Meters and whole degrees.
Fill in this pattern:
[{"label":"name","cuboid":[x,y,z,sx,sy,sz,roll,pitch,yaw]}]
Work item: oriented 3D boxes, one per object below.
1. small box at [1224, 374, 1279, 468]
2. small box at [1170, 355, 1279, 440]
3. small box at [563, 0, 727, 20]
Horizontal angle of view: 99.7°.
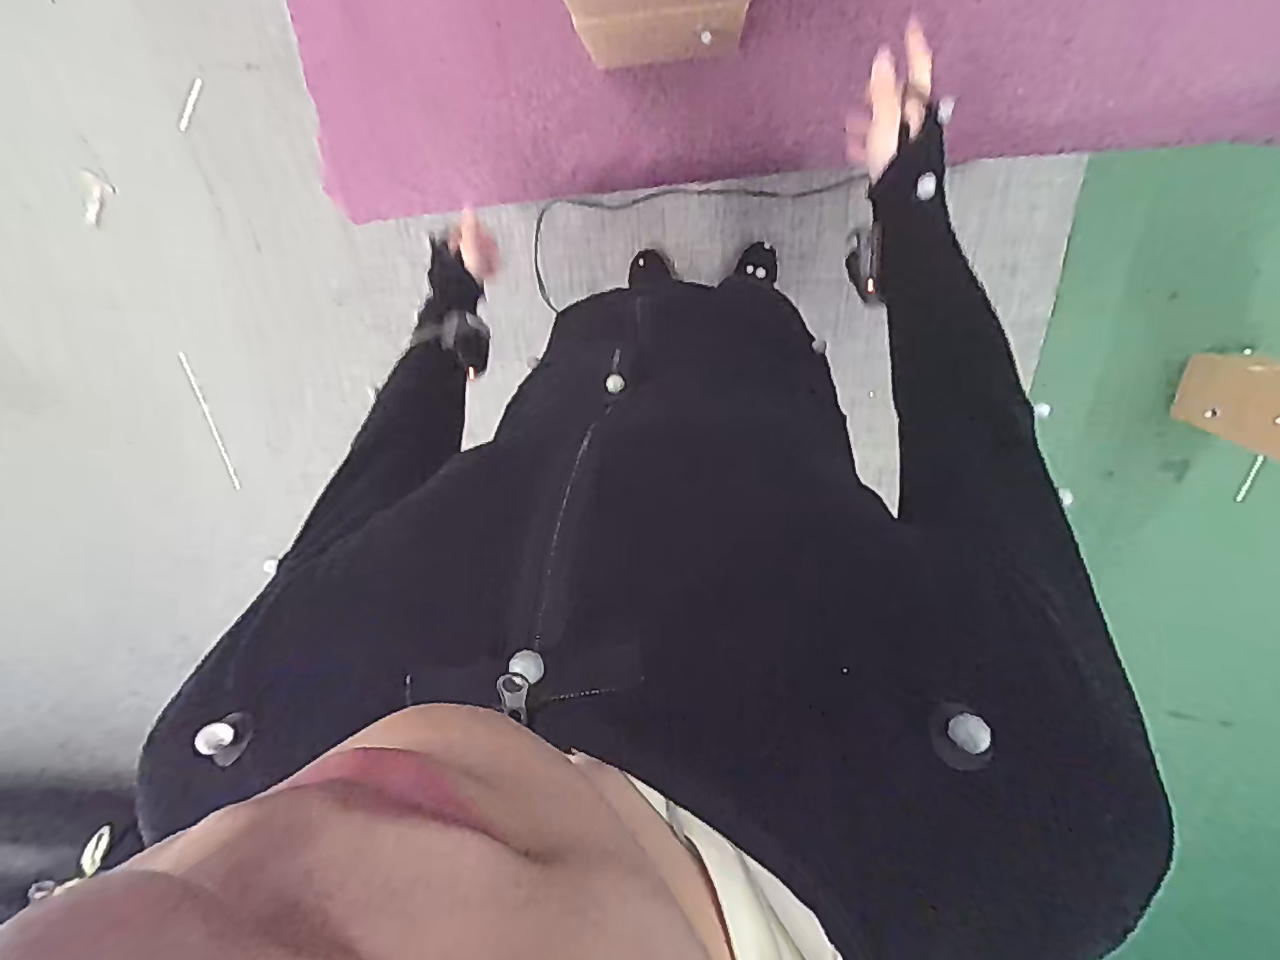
[{"label":"small box","cuboid":[1.511,-0.139,1.233,0.168,0.176,0.179,-3,113,7]},{"label":"small box","cuboid":[1.523,-0.212,1.378,0.168,0.176,0.179,-1,114,6]},{"label":"small box","cuboid":[0.008,-0.494,0.419,0.179,0.176,0.168,-2,114,6]}]
